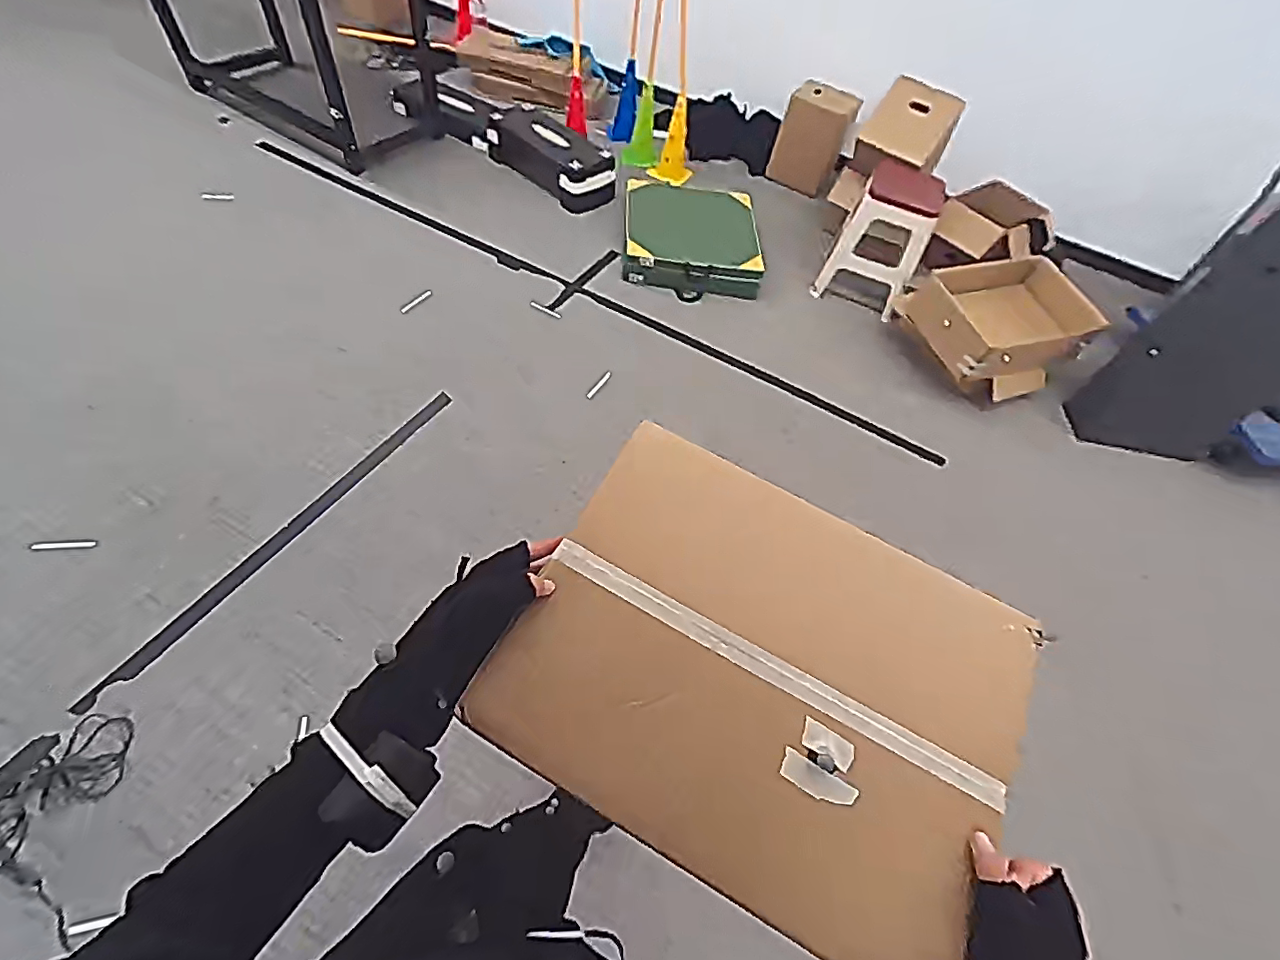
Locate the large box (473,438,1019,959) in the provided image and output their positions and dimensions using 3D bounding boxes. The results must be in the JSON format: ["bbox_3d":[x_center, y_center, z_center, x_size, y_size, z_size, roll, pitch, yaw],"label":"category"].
[{"bbox_3d":[0.095,0.224,0.600,0.408,0.320,0.320,29,67,8],"label":"large box"}]
